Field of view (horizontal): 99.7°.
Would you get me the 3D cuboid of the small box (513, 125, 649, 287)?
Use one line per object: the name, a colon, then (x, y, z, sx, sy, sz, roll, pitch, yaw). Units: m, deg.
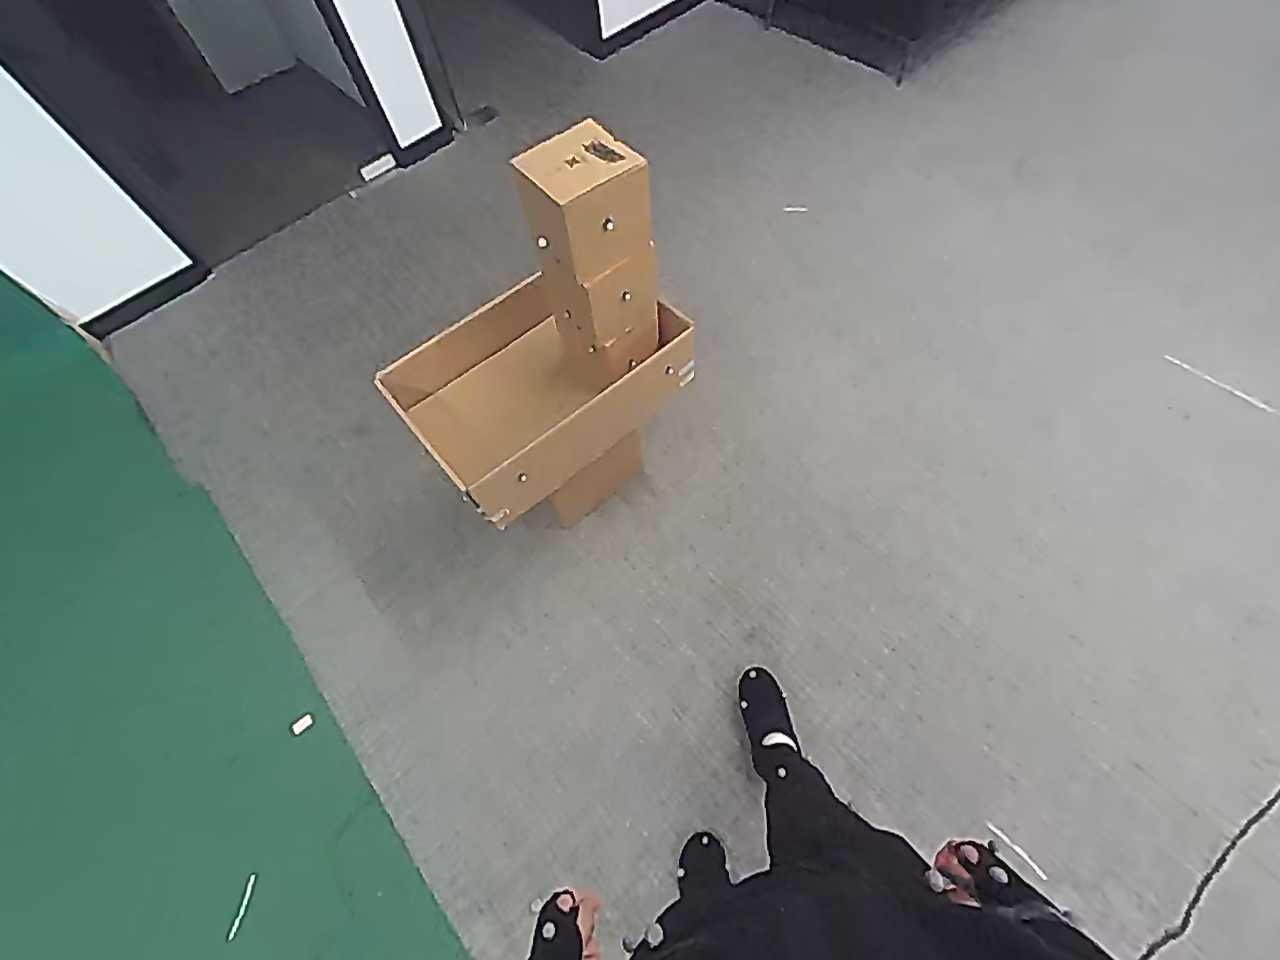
small box: (-0.098, -0.493, 0.983, 0.179, 0.176, 0.168, -36, 65, -13)
